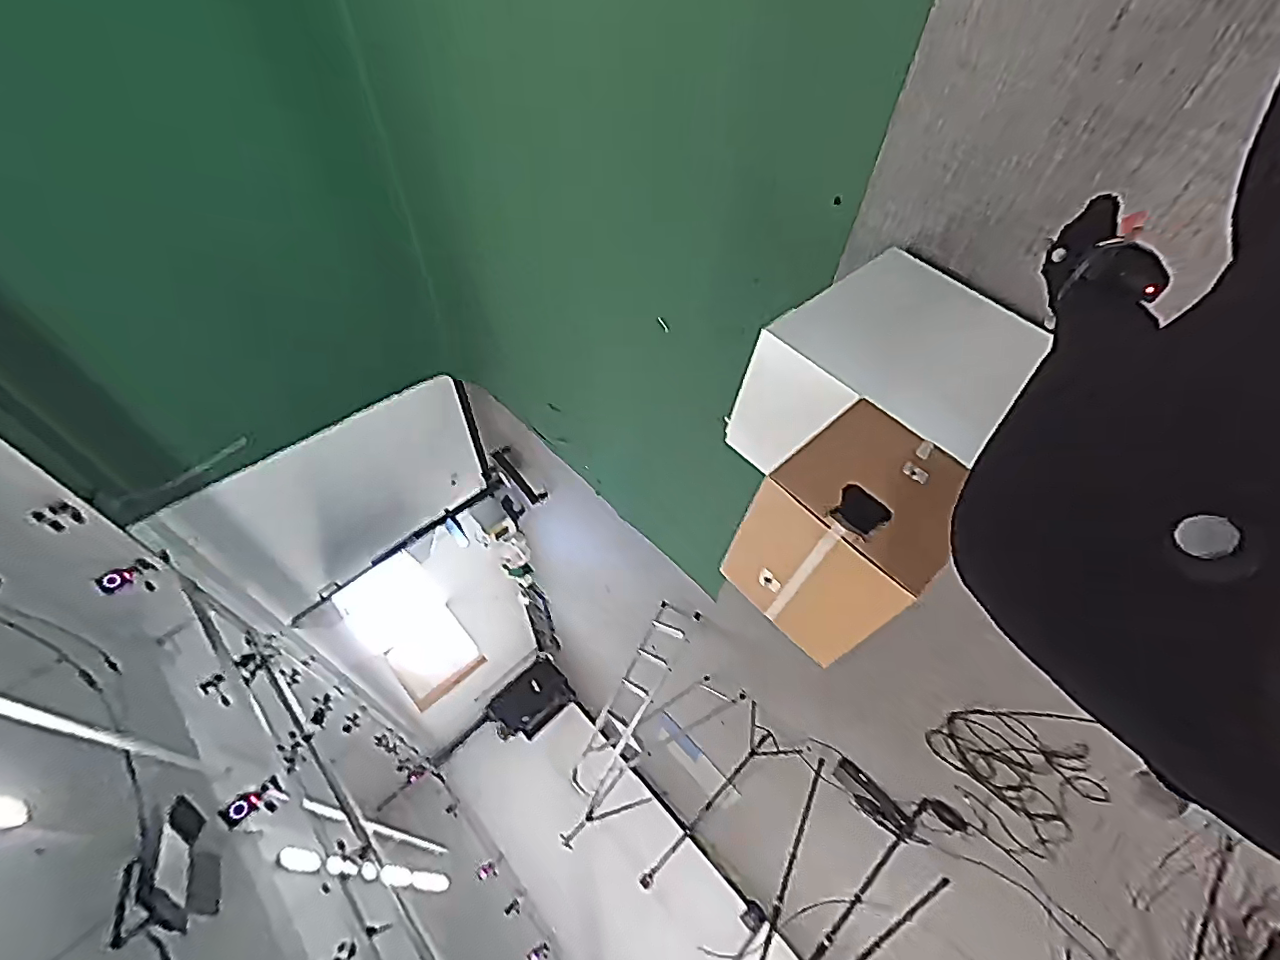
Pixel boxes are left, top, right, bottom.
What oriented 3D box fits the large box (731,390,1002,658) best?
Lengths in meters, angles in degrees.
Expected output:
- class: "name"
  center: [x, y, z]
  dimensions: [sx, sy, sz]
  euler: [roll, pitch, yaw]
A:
- class: "large box"
  center: [0.438, 0.097, 1.124]
  dimensions: [0.320, 0.320, 0.408]
  euler: [43, 153, 22]
